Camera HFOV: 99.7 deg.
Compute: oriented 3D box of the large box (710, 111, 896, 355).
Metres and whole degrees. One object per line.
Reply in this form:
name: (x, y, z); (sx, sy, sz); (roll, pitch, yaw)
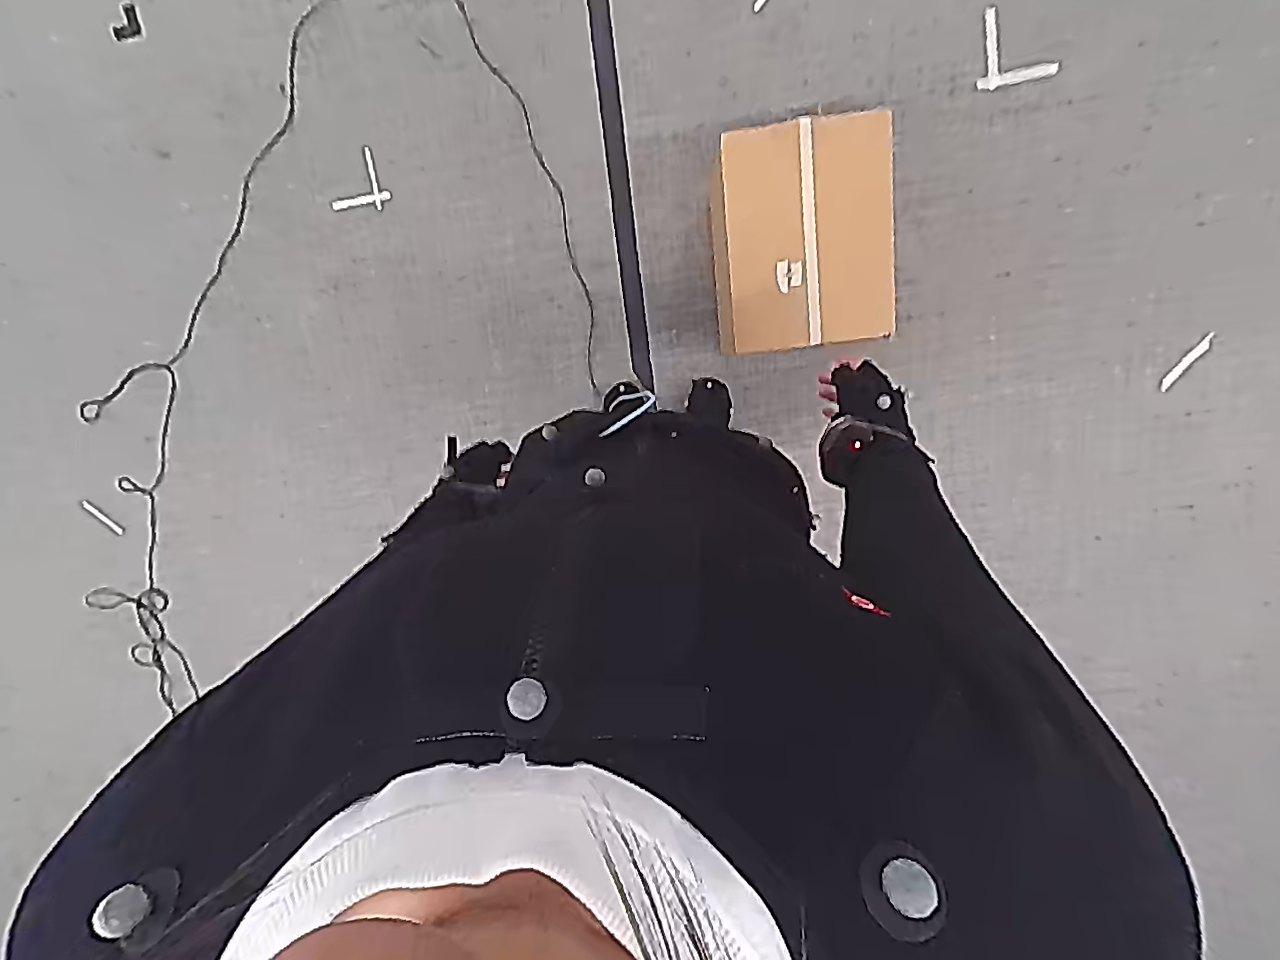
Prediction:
large box: (0.336, -0.497, 1.180); (0.320, 0.320, 0.408); (-6, 102, 6)
